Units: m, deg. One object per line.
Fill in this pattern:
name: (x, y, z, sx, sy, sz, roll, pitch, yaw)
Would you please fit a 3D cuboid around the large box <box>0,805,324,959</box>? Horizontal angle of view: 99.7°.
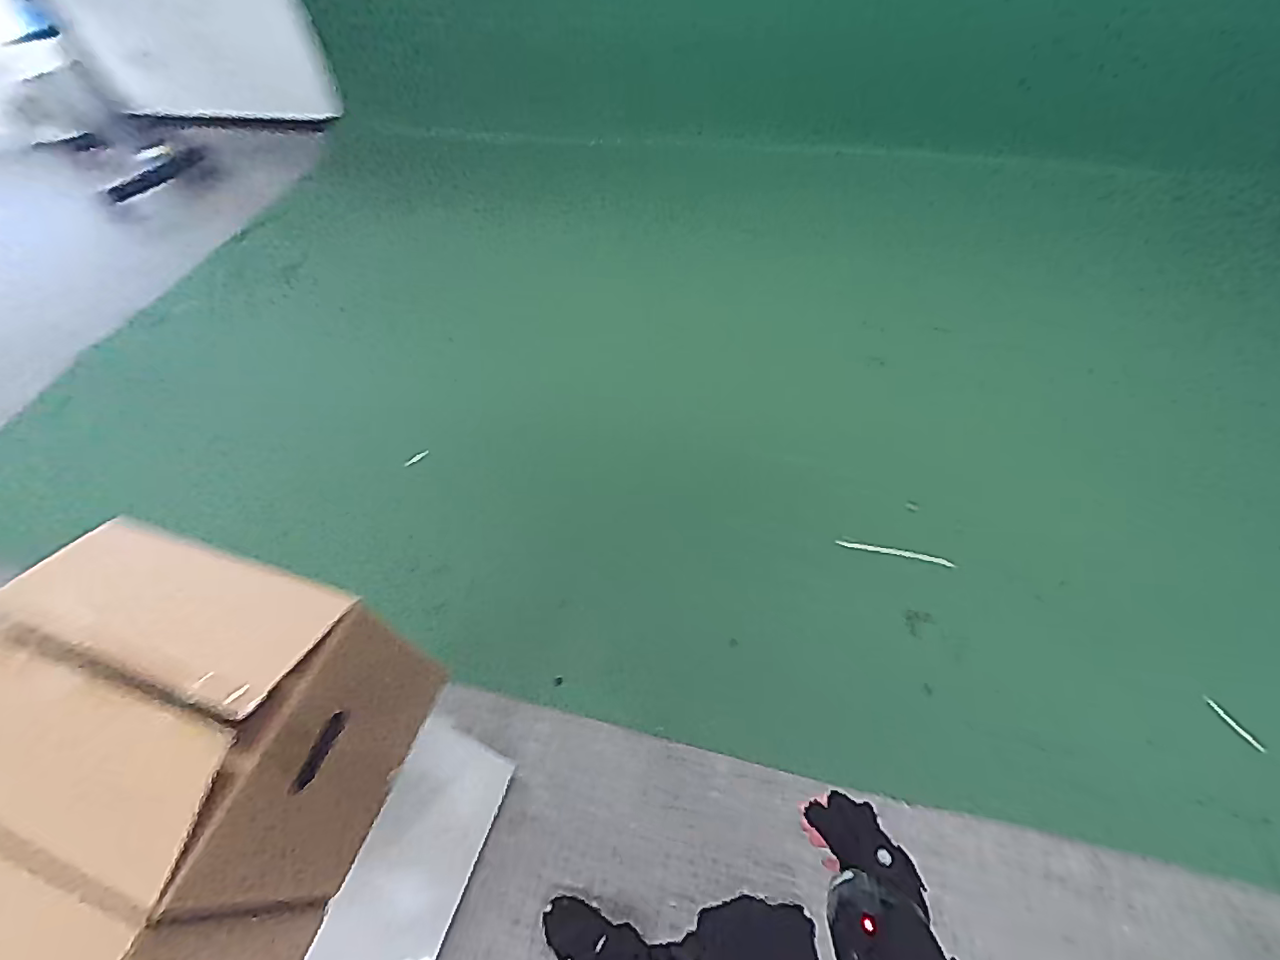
large box: (-0.651, 0.568, 0.558, 0.408, 0.320, 0.320, 11, 55, 14)
